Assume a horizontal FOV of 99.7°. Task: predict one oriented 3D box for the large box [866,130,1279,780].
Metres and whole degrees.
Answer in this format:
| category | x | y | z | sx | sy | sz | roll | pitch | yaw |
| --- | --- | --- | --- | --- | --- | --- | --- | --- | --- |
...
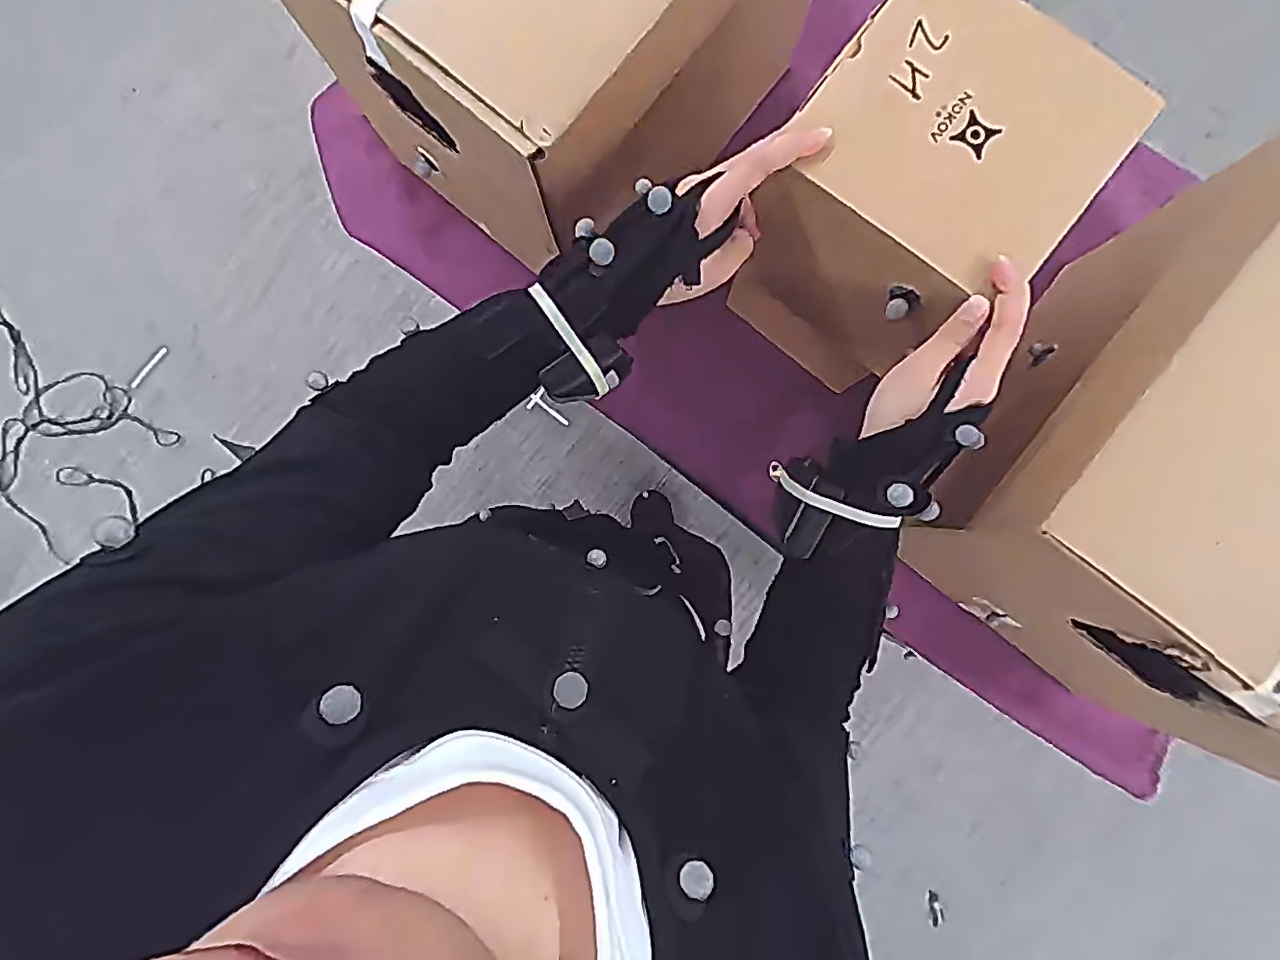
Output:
| category | x | y | z | sx | sy | sz | roll | pitch | yaw |
| --- | --- | --- | --- | --- | --- | --- | --- | --- | --- |
| large box | 0.487 | -0.013 | 0.474 | 0.320 | 0.320 | 0.408 | 39 | 87 | 3 |
